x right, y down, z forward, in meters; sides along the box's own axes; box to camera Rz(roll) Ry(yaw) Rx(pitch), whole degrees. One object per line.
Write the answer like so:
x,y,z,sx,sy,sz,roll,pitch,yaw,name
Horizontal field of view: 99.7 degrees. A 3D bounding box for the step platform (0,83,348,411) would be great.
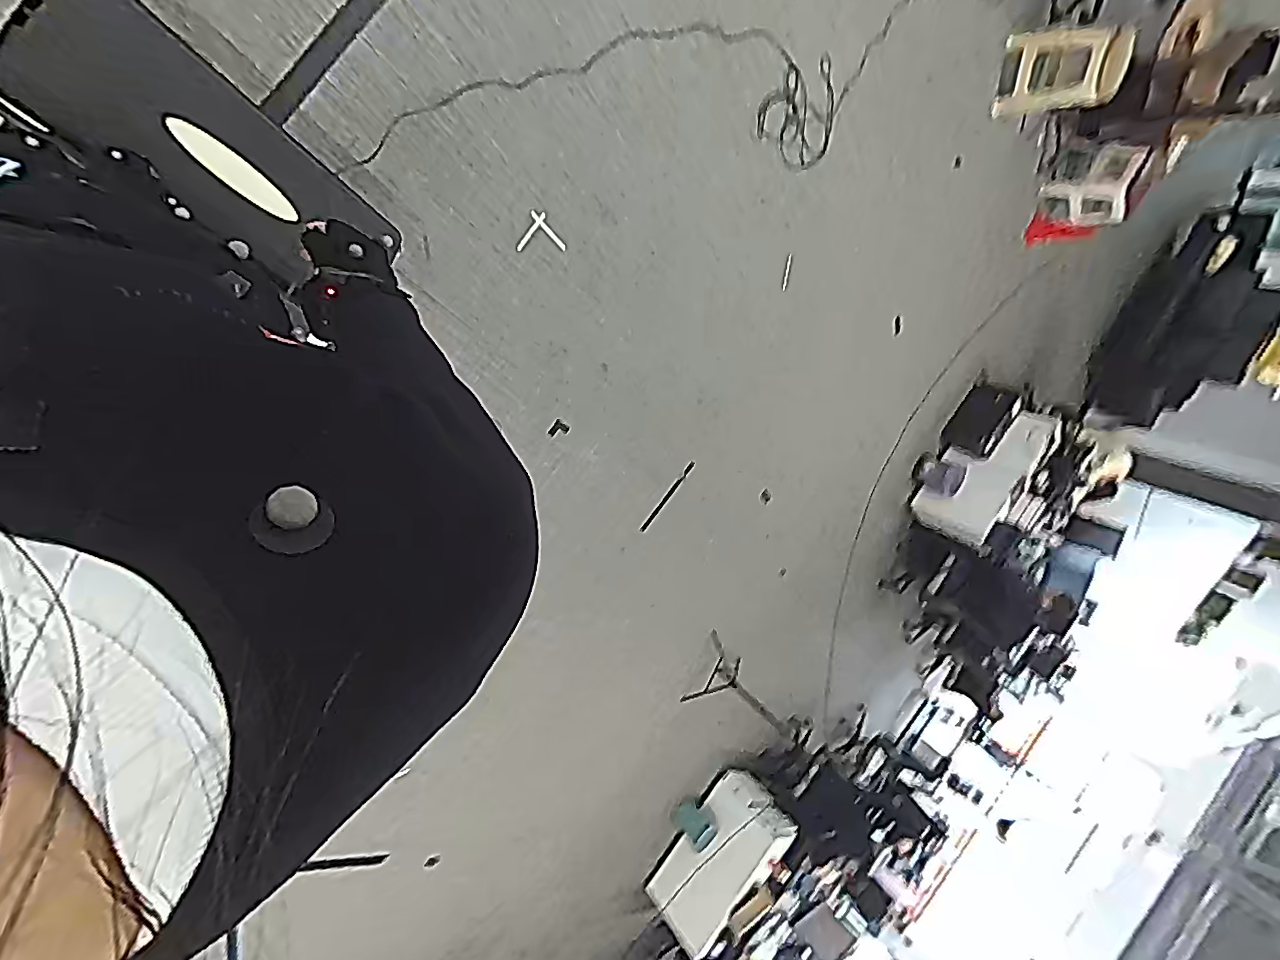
-0.990,-0.427,1.118,0.684,0.204,0.286,37,87,-46,step platform
